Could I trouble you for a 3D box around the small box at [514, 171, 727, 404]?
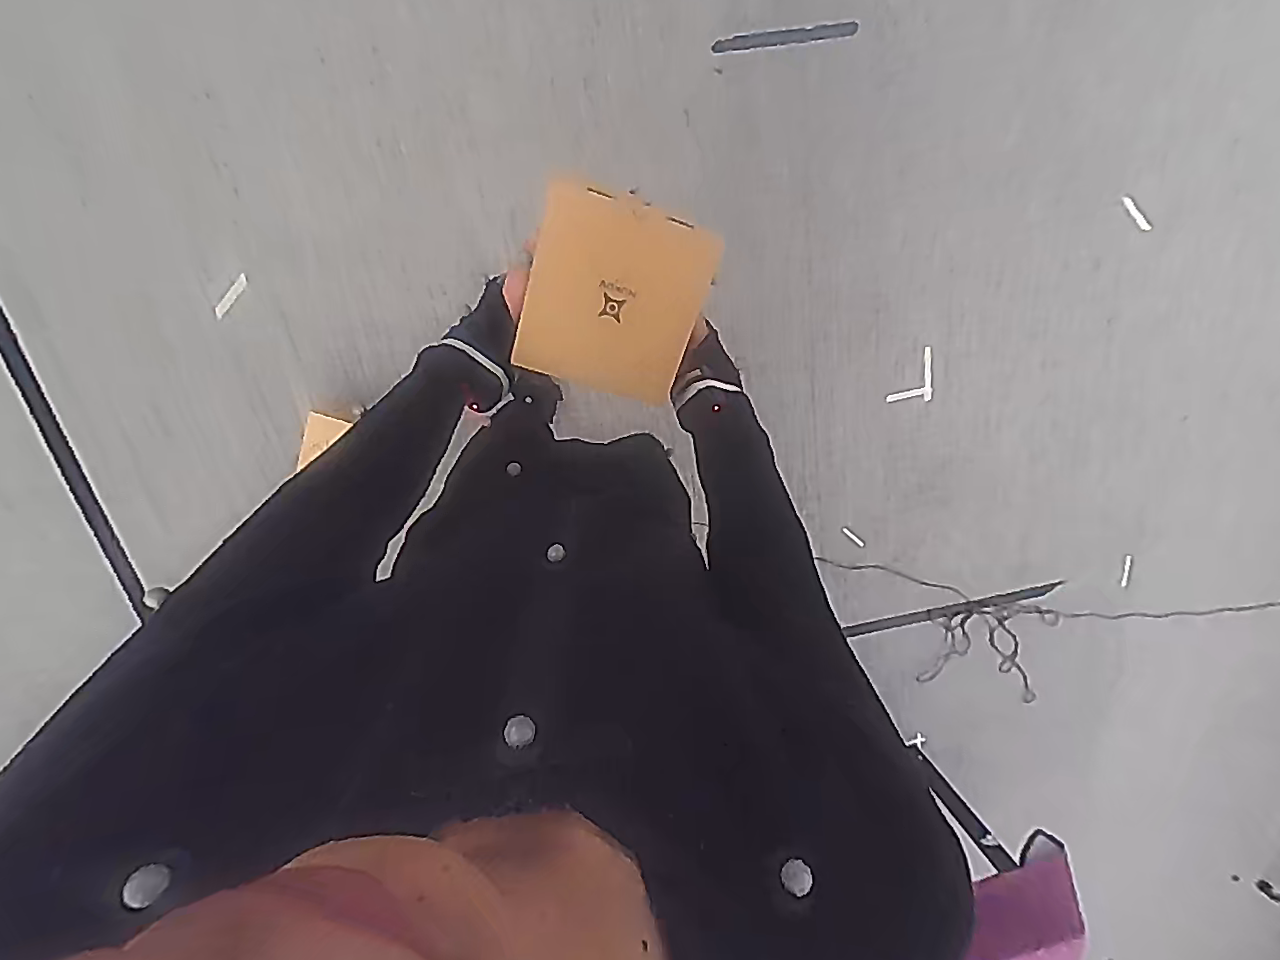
[{"bbox_3d":[-0.027,-0.209,0.582,0.168,0.176,0.179,14,116,-13],"label":"small box"}]
